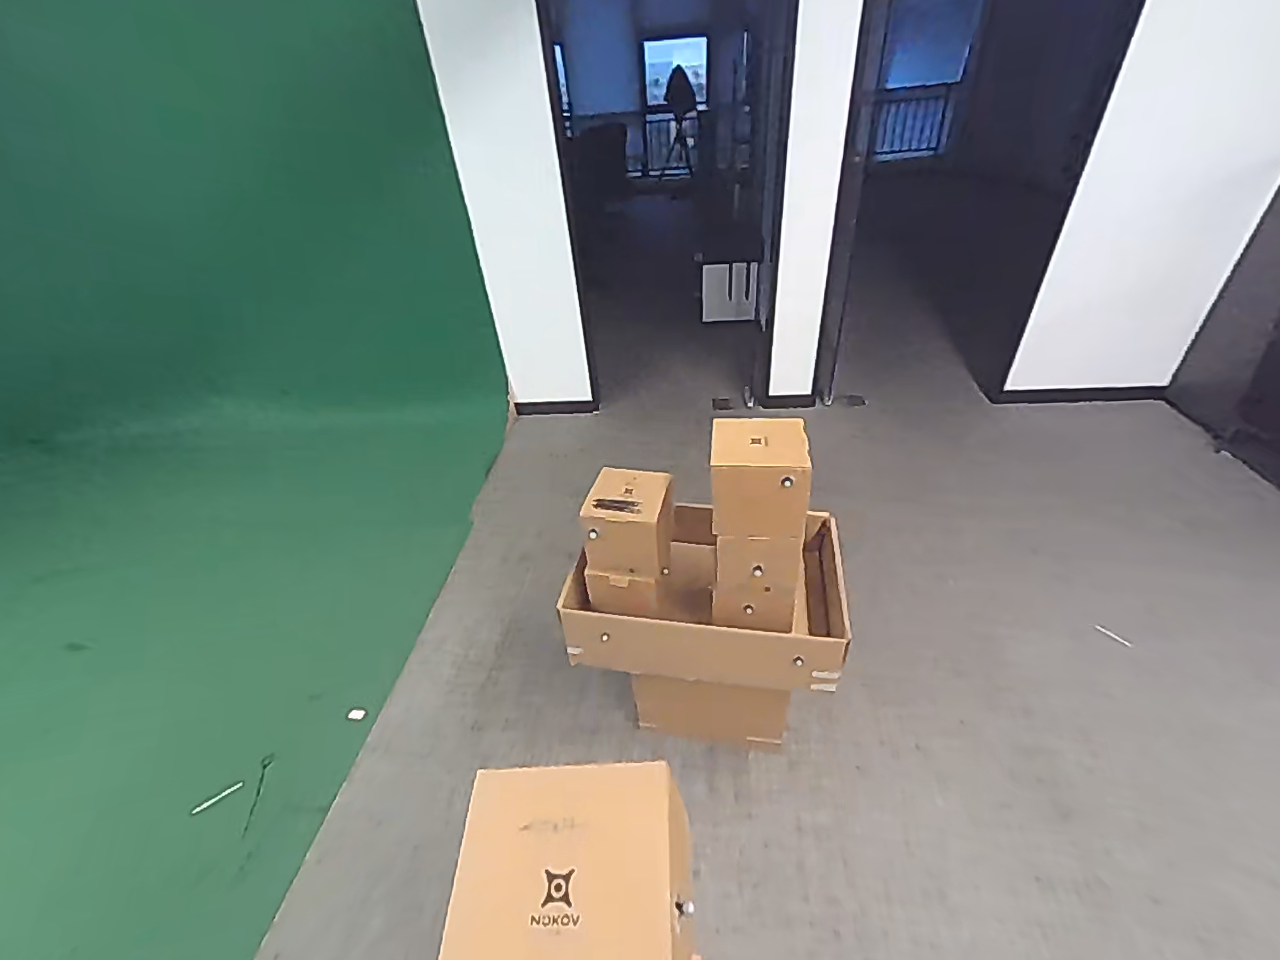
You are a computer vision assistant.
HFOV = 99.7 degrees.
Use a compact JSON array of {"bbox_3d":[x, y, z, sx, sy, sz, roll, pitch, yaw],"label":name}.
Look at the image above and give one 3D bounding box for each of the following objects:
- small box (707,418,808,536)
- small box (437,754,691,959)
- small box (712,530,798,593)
[{"bbox_3d":[0.223,-0.007,1.052,0.179,0.176,0.168,2,37,9],"label":"small box"},{"bbox_3d":[-0.047,0.352,0.455,0.168,0.176,0.179,-5,45,7],"label":"small box"},{"bbox_3d":[0.240,0.122,1.152,0.168,0.176,0.179,1,38,9],"label":"small box"}]
